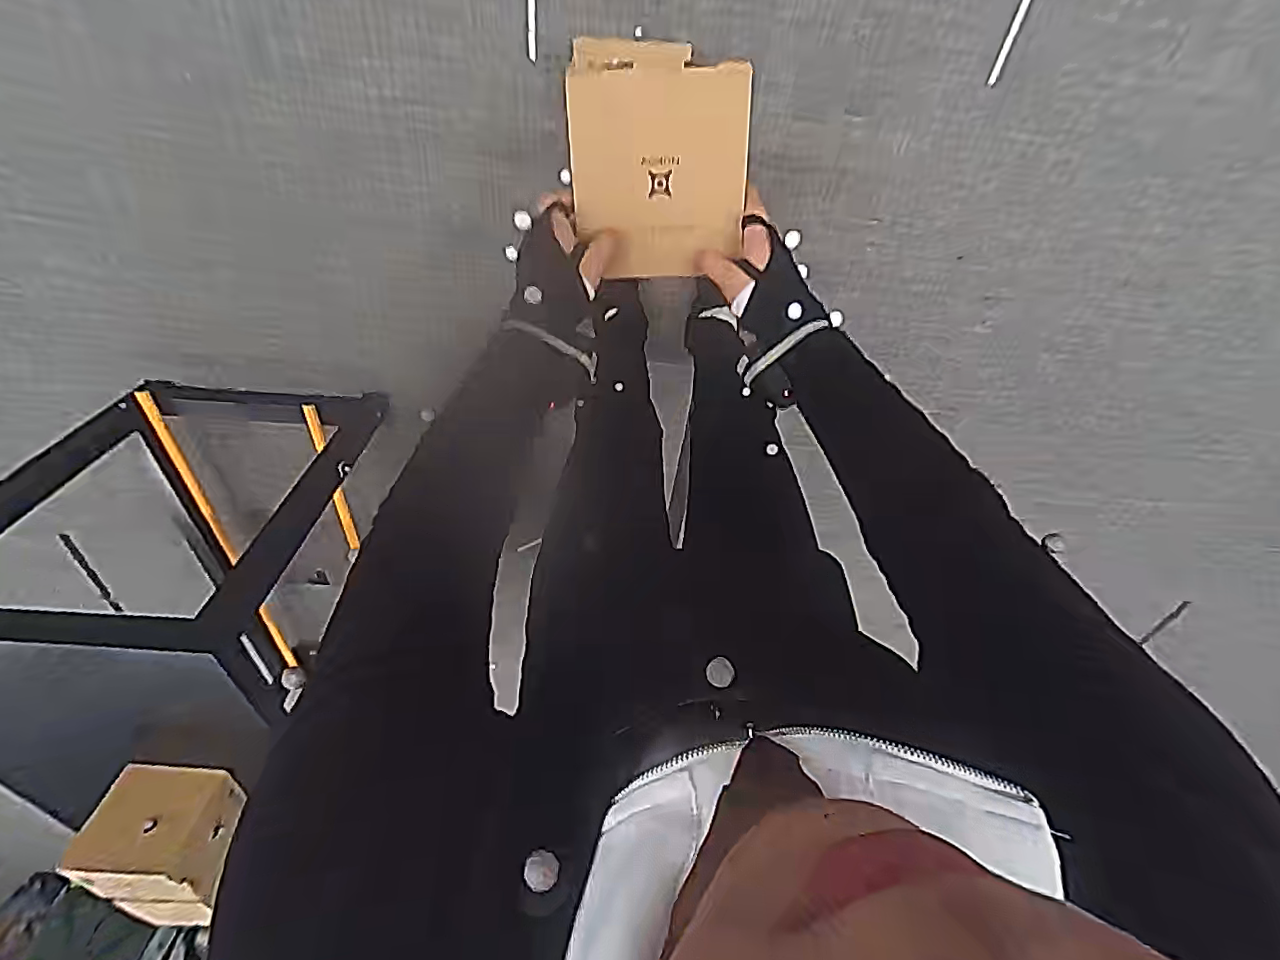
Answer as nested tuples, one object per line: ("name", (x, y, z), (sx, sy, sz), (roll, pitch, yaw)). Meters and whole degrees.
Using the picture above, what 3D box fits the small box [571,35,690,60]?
("small box", (-0.018, -0.623, 0.894), (0.179, 0.176, 0.168), (2, 130, -2))

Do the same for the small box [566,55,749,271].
("small box", (0.013, -0.331, 0.582), (0.168, 0.176, 0.179), (-3, 120, -1))
